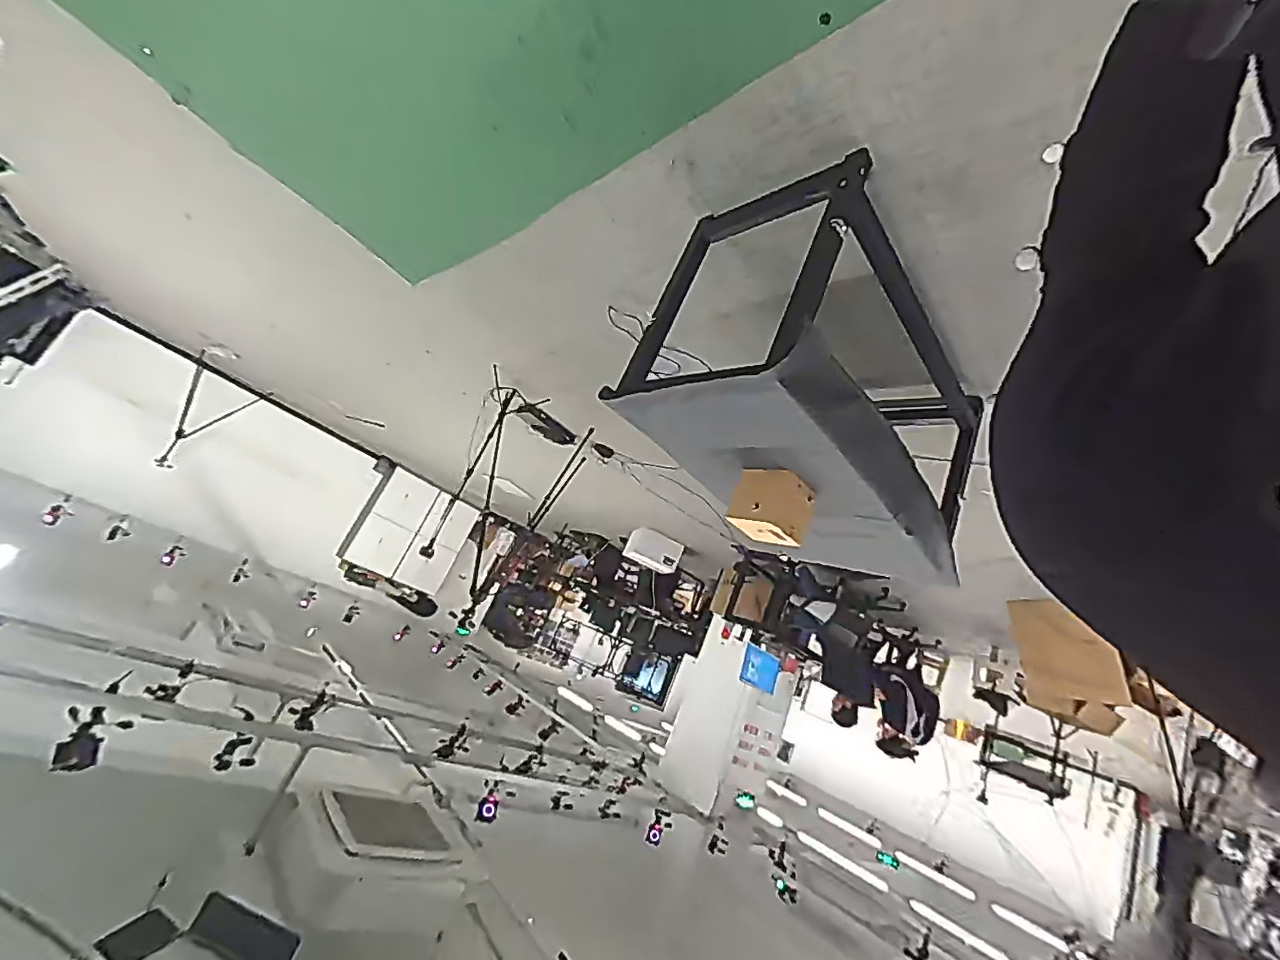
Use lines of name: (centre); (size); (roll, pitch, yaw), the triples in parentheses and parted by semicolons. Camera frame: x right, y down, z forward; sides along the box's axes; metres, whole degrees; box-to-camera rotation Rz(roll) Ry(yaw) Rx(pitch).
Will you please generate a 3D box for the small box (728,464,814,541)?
small box: (0.398, 0.063, 1.611); (0.168, 0.176, 0.179); (36, 161, -36)
